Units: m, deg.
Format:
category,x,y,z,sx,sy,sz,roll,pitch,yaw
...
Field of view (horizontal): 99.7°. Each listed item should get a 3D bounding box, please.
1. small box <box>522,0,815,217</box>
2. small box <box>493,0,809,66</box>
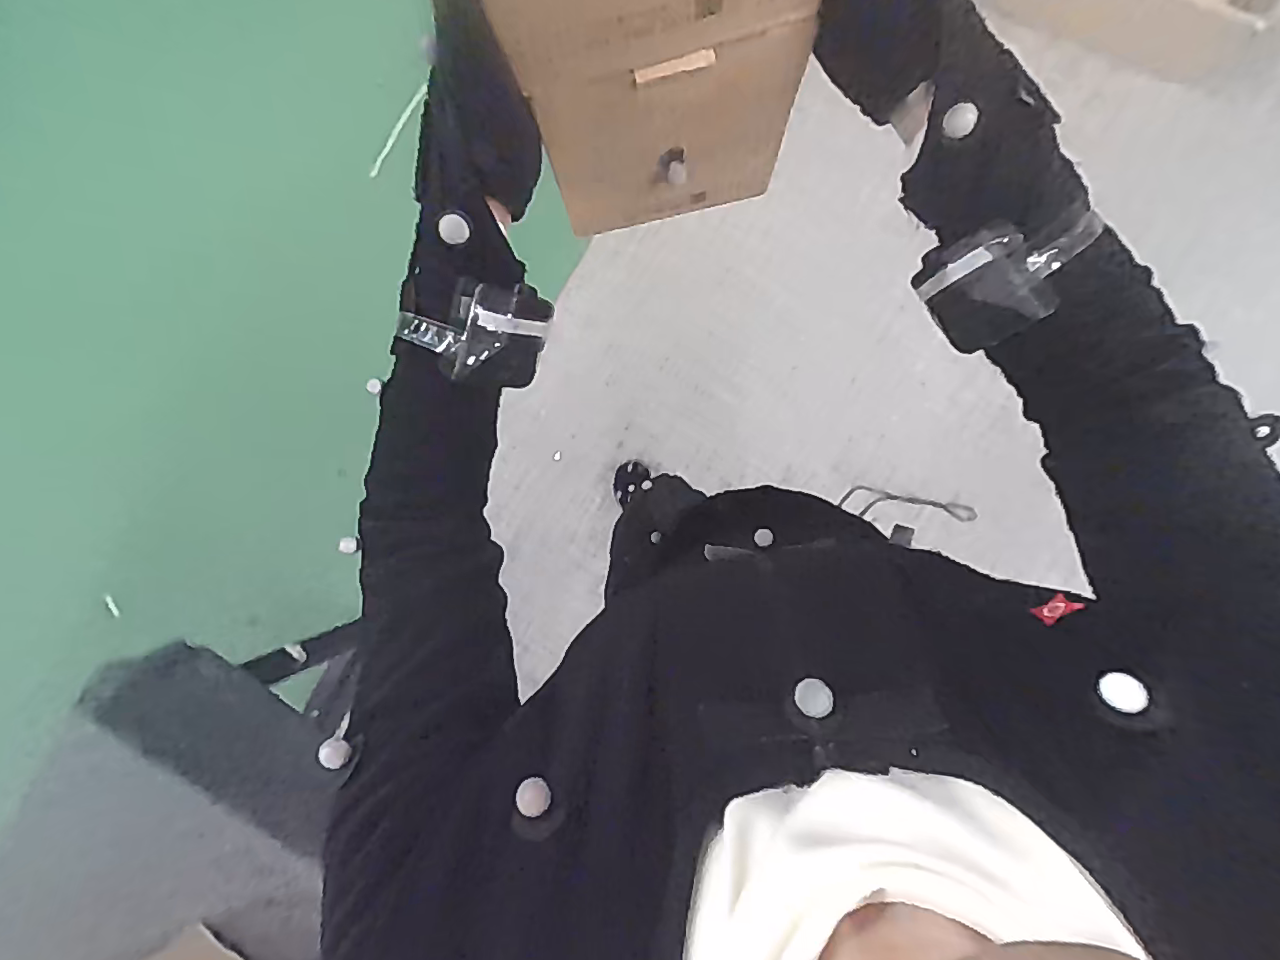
category,x,y,z,sx,sy,sz,roll,pitch,yaw
small box,0.008,-0.313,0.383,0.168,0.176,0.179,-12,89,3
small box,-0.007,-0.316,0.221,0.168,0.176,0.179,-12,86,2
